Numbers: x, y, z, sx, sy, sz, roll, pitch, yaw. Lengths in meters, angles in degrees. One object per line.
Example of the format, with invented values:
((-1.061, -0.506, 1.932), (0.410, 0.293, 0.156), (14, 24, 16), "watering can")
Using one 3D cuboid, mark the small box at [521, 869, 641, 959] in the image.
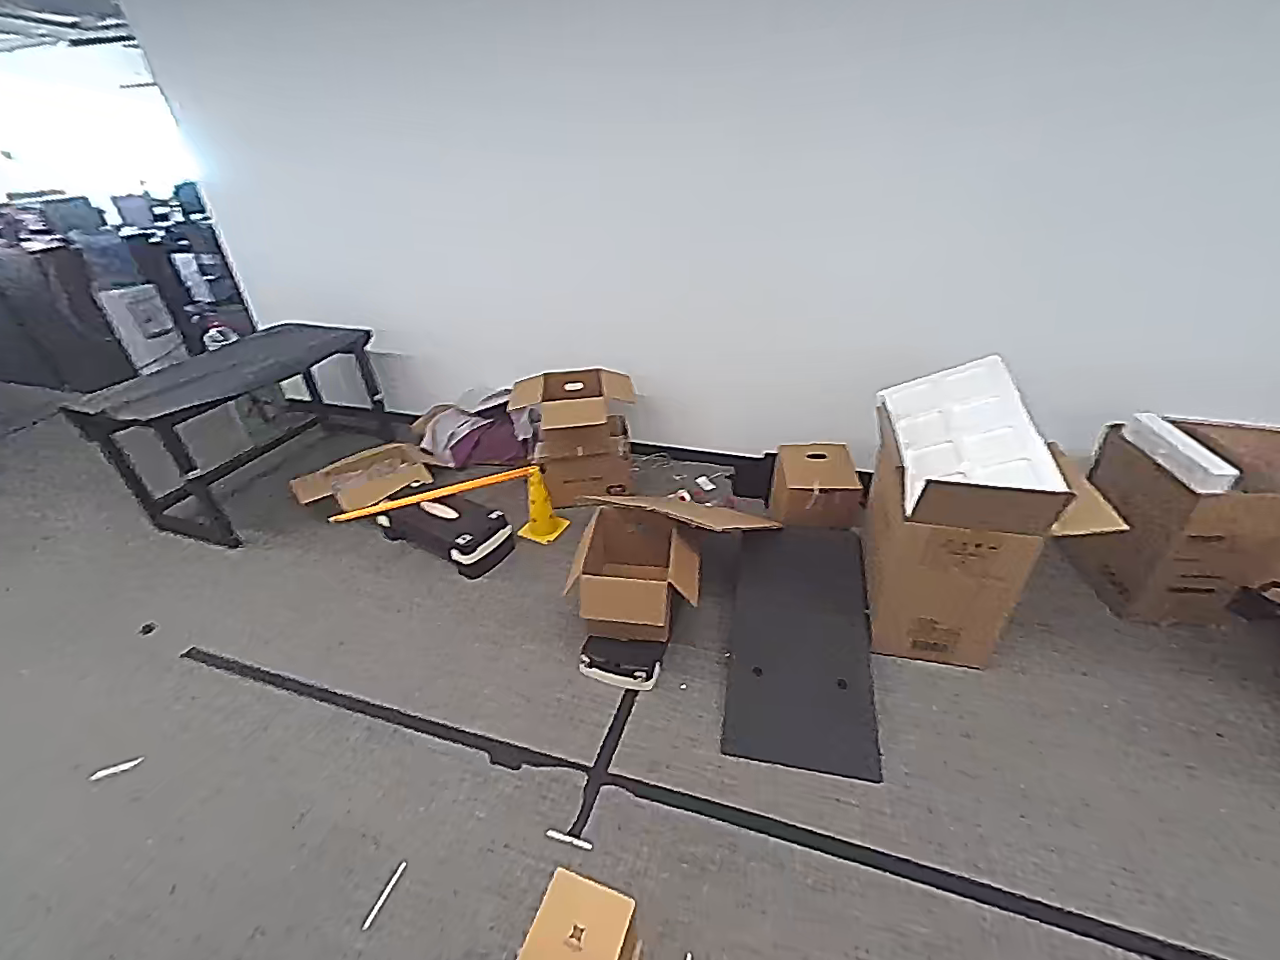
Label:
((-0.105, 0.872, 0.989), (0.168, 0.176, 0.179), (11, 36, 18), "small box")
